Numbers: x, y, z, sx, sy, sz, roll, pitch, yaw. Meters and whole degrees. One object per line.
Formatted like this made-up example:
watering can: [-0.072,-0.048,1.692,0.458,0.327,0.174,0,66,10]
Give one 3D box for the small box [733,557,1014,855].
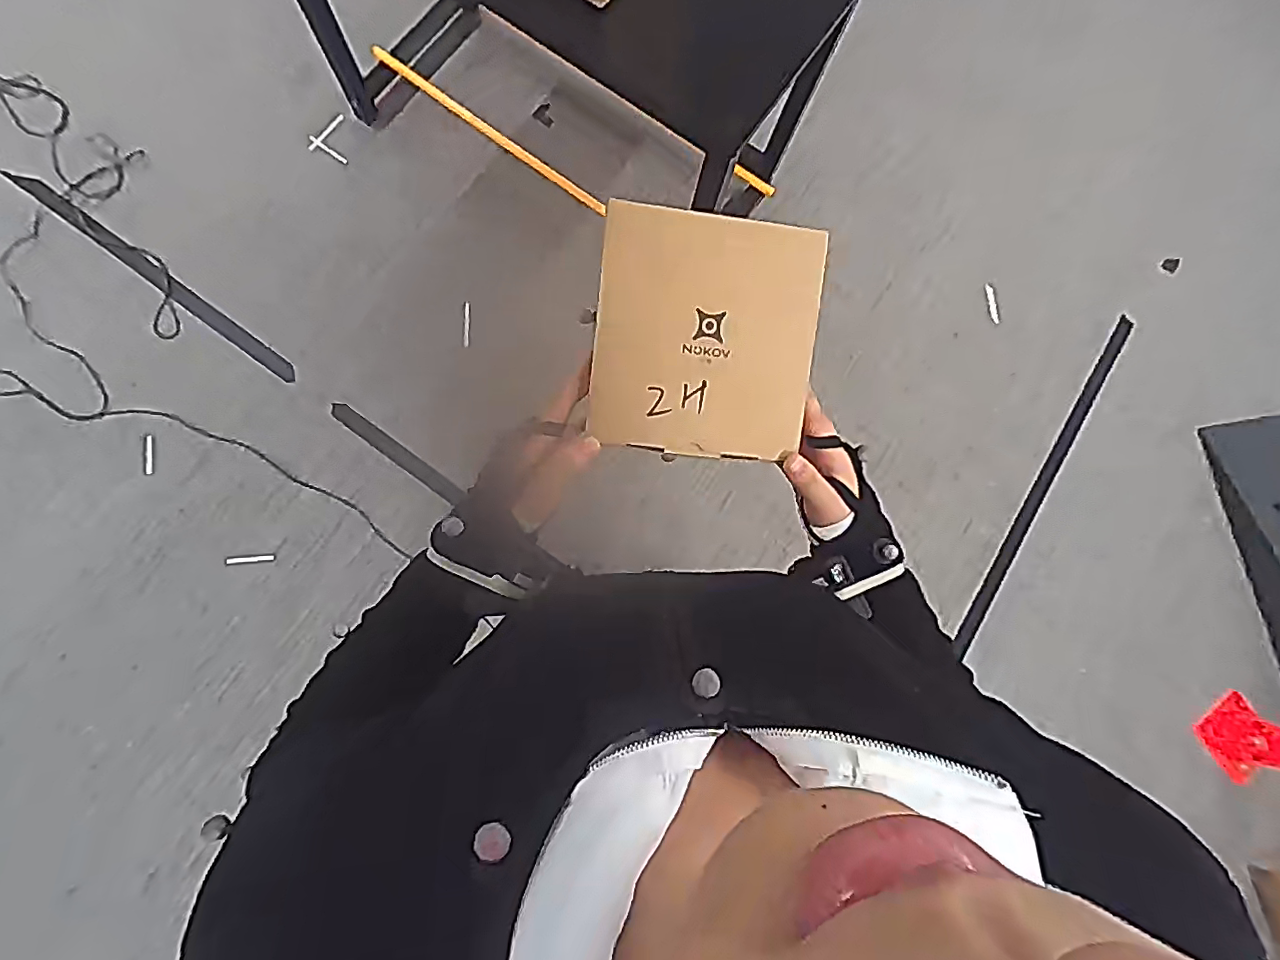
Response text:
small box: [0.194,0.204,0.491,0.179,0.176,0.168,17,120,-3]
